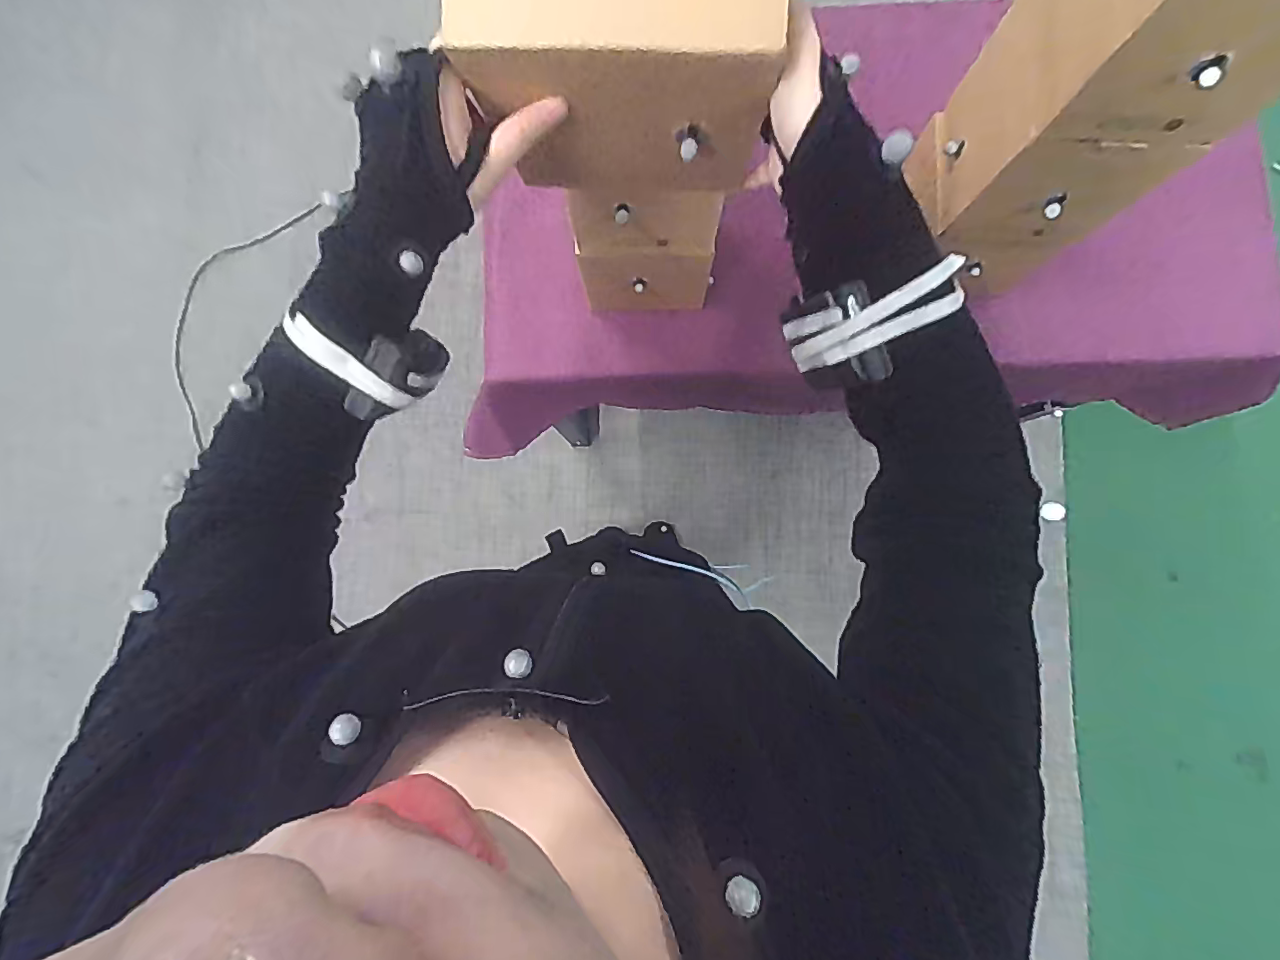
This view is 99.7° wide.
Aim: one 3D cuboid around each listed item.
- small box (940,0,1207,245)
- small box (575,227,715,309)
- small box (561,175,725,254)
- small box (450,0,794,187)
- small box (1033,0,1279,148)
[{"bbox_3d":[0.452,-0.381,0.588,0.168,0.176,0.179,5,85,2],"label":"small box"},{"bbox_3d":[0.009,-0.352,0.759,0.179,0.176,0.168,1,84,2],"label":"small box"},{"bbox_3d":[0.009,-0.371,0.597,0.168,0.176,0.179,2,83,1],"label":"small box"},{"bbox_3d":[-0.003,-0.308,0.344,0.179,0.176,0.168,4,96,2],"label":"small box"},{"bbox_3d":[0.446,-0.396,0.424,0.168,0.176,0.179,4,84,2],"label":"small box"}]
